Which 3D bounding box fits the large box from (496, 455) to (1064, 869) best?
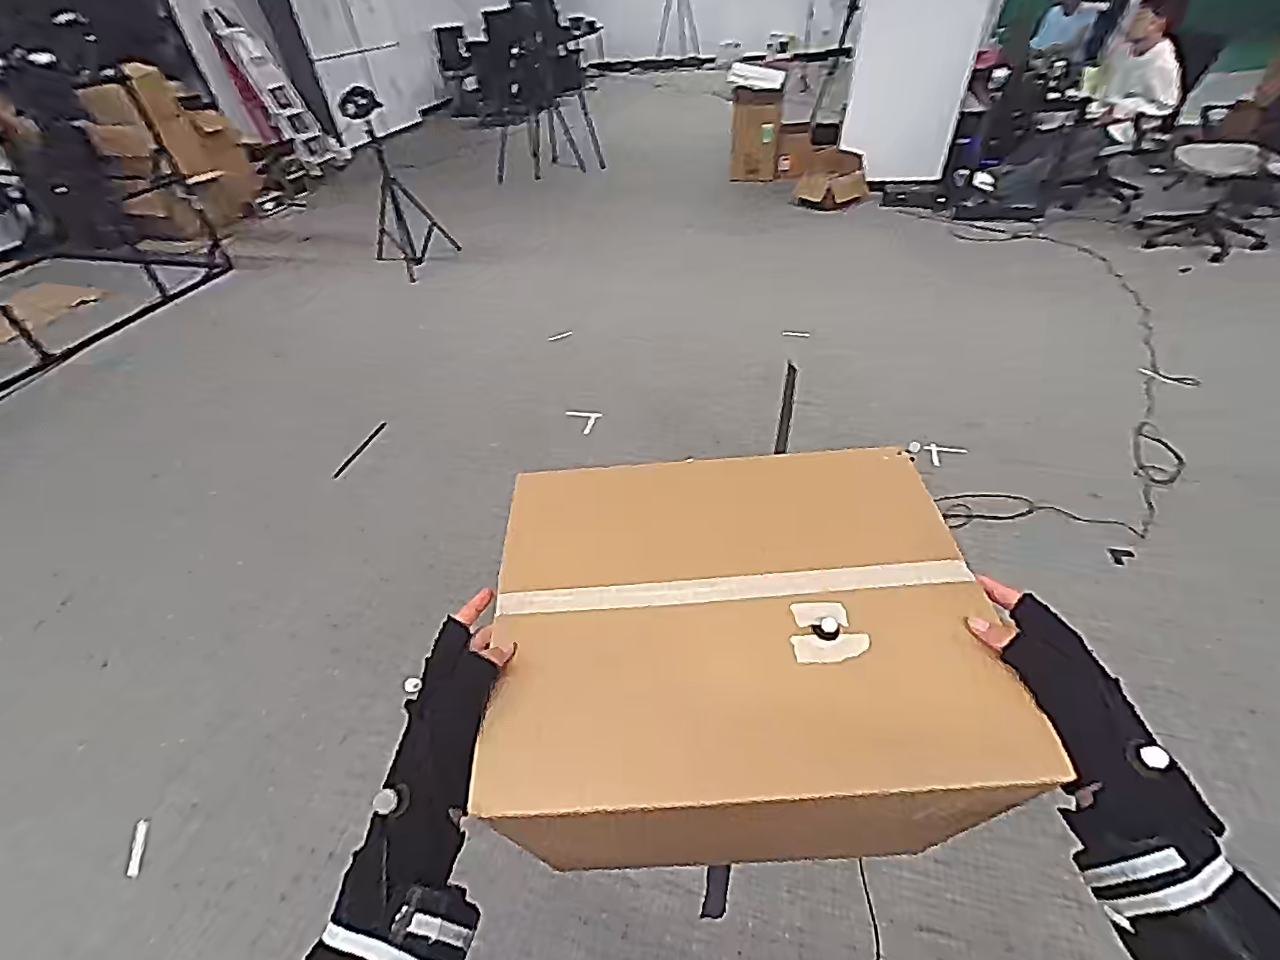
[{"bbox_3d":[0.096,0.199,0.580,0.408,0.320,0.320,-3,48,1],"label":"large box"}]
